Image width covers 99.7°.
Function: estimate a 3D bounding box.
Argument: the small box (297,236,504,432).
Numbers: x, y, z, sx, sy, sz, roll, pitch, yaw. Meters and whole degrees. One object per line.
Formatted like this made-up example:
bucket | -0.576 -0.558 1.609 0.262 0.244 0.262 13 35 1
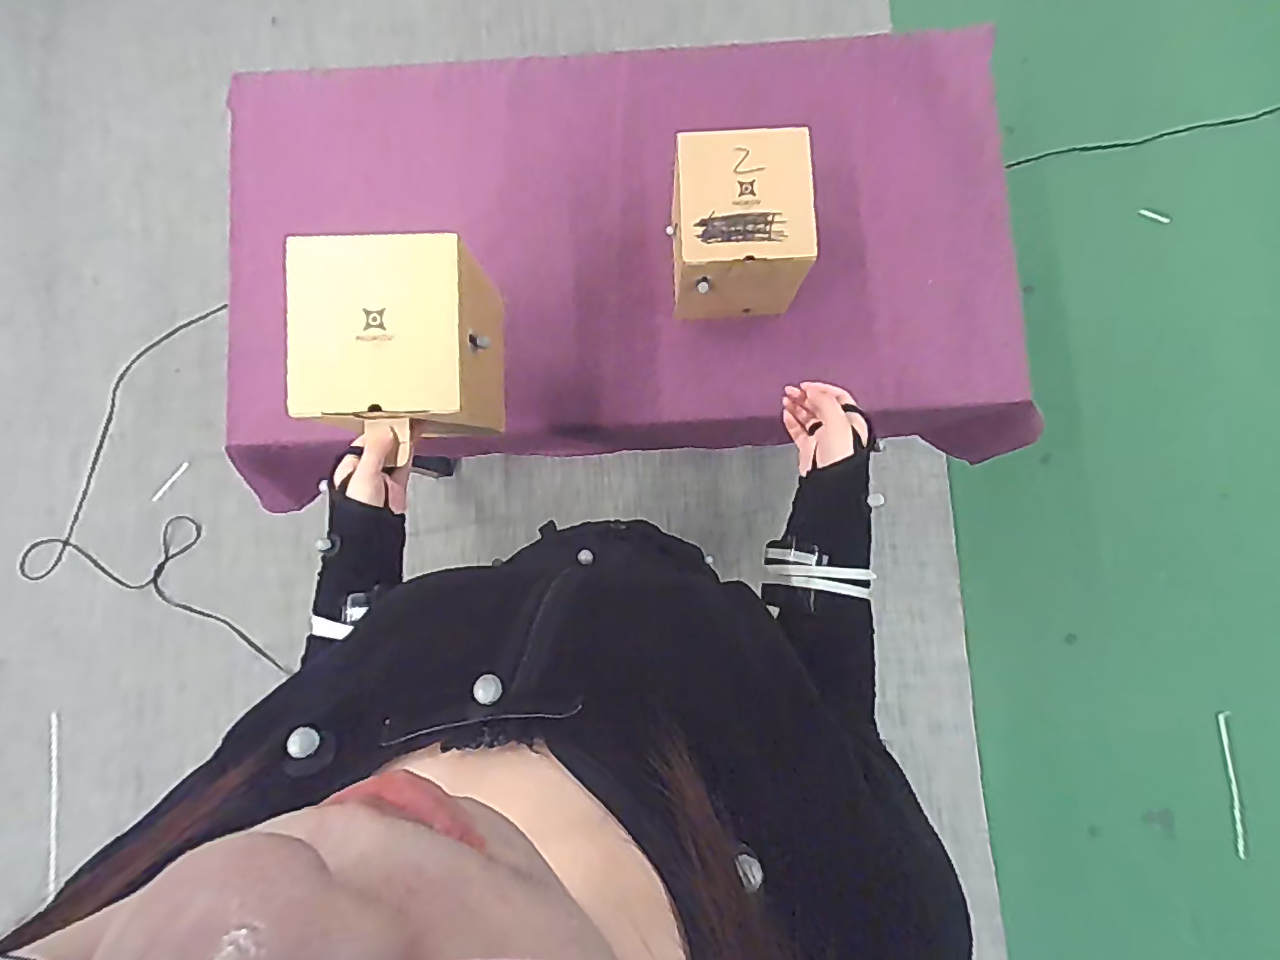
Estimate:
small box | -0.256 -0.152 0.613 0.168 0.176 0.179 -2 89 0
